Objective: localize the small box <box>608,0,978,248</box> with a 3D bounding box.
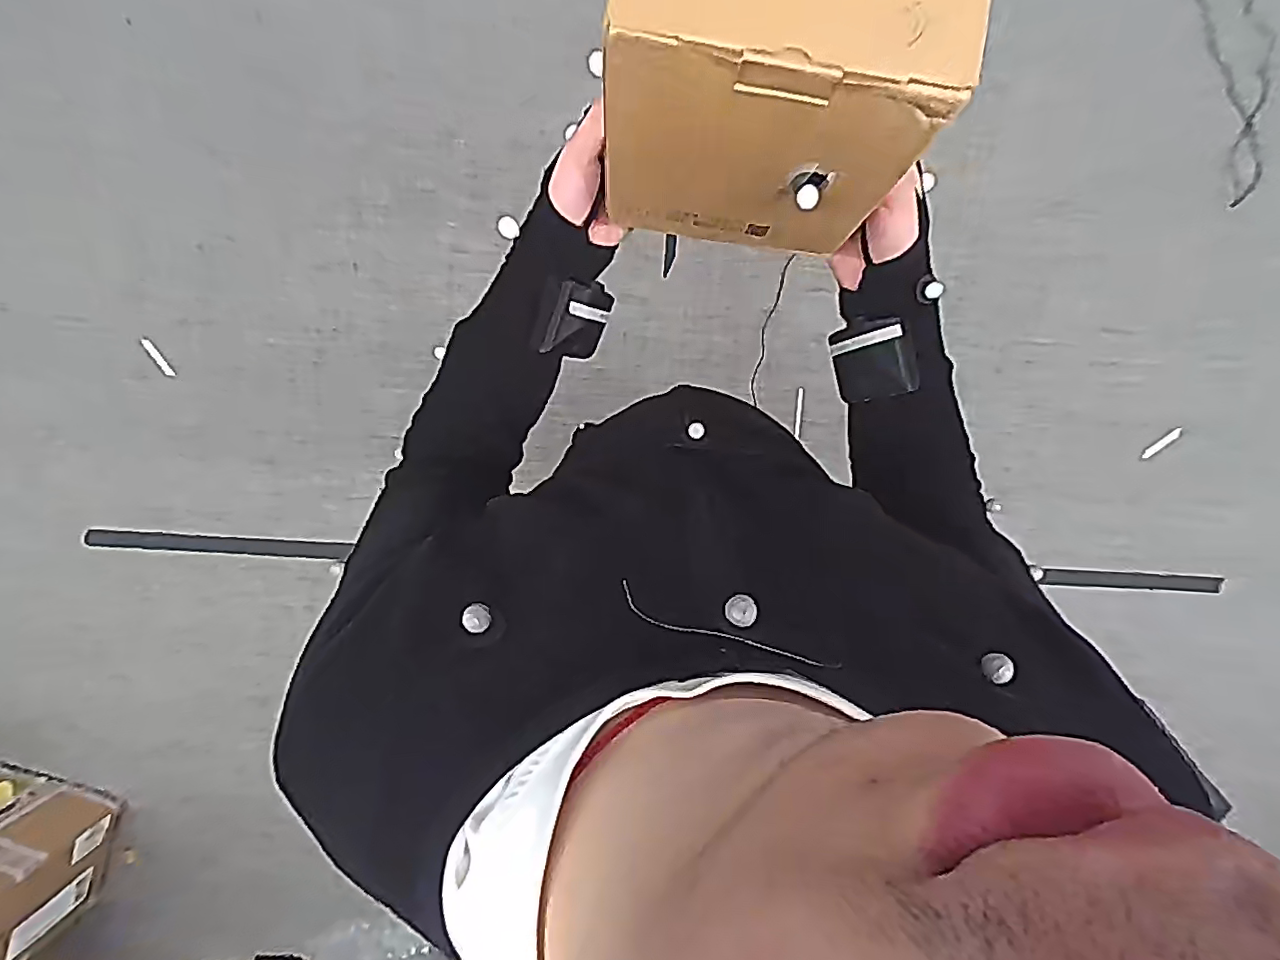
[{"bbox_3d":[0.075,-0.266,0.324,0.168,0.176,0.179,8,87,-4],"label":"small box"}]
